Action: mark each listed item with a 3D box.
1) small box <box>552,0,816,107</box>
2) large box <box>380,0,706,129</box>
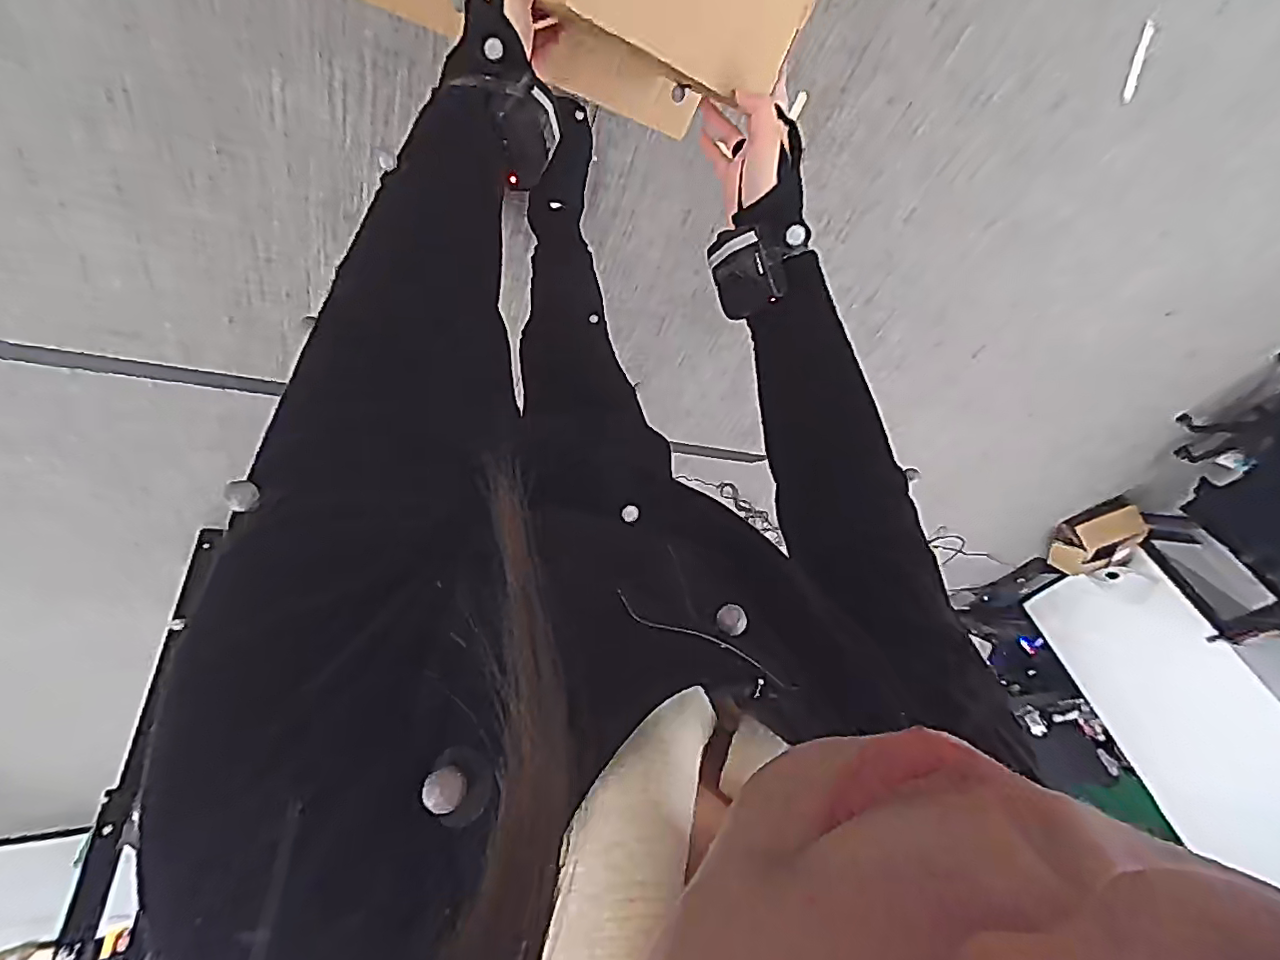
[{"bbox_3d":[0.034,-0.419,0.402,0.179,0.176,0.168,7,127,-29],"label":"small box"},{"bbox_3d":[-0.092,-0.630,0.524,0.408,0.320,0.320,8,137,-25],"label":"large box"}]
